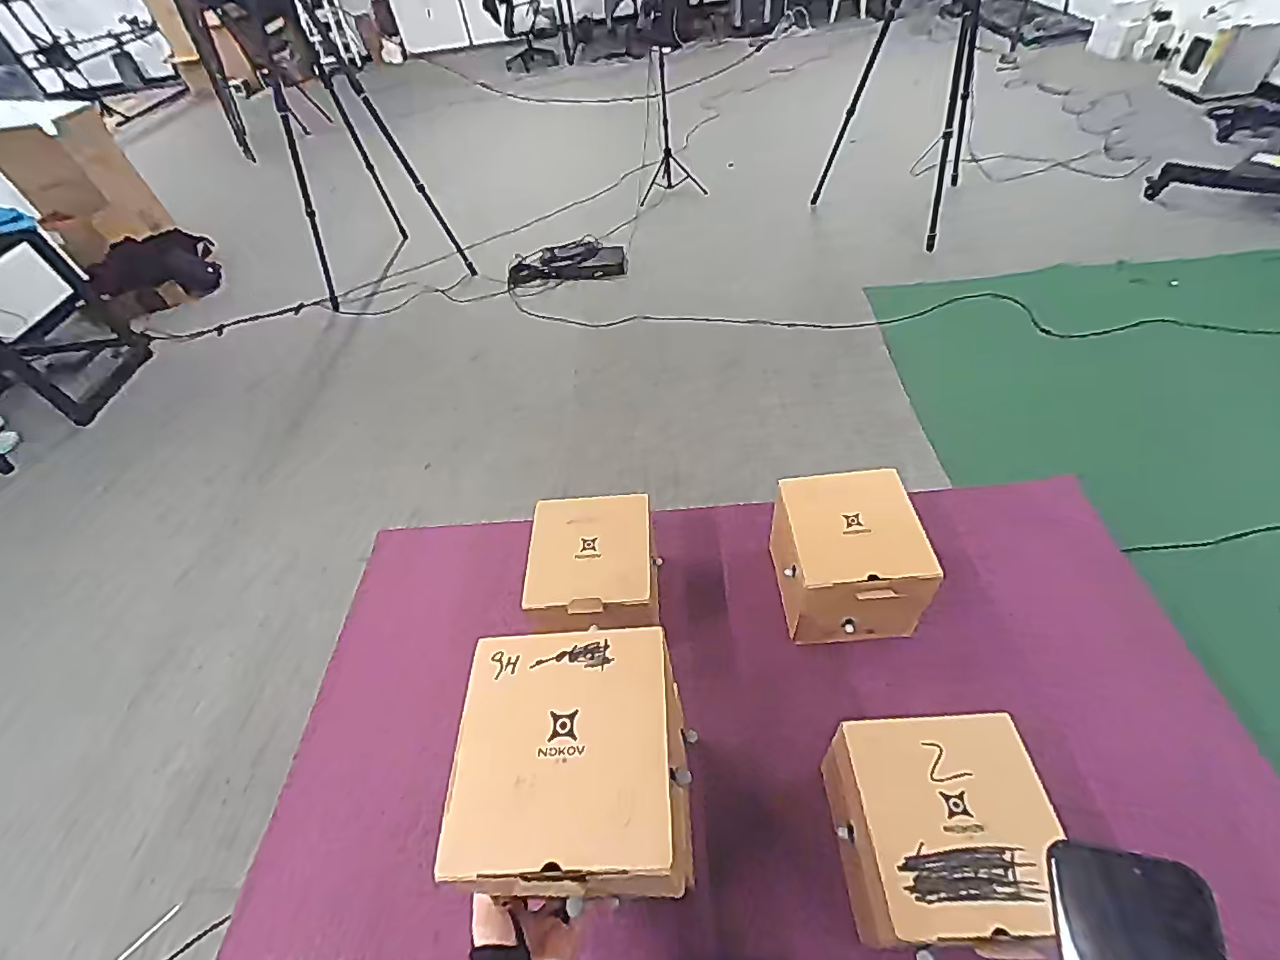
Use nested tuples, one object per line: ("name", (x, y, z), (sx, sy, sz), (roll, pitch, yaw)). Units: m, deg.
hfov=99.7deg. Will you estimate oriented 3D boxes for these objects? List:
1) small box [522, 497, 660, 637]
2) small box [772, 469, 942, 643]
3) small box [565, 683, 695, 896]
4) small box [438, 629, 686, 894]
("small box", (-0.060, 0.147, 0.789), (0.168, 0.176, 0.179), (-4, 49, 4))
("small box", (0.287, 0.109, 0.766), (0.168, 0.176, 0.179), (-7, 49, 4))
("small box", (-0.028, 0.349, 0.607), (0.168, 0.176, 0.179), (-6, 48, 5))
("small box", (-0.051, 0.252, 0.475), (0.168, 0.176, 0.179), (-5, 49, 4))
